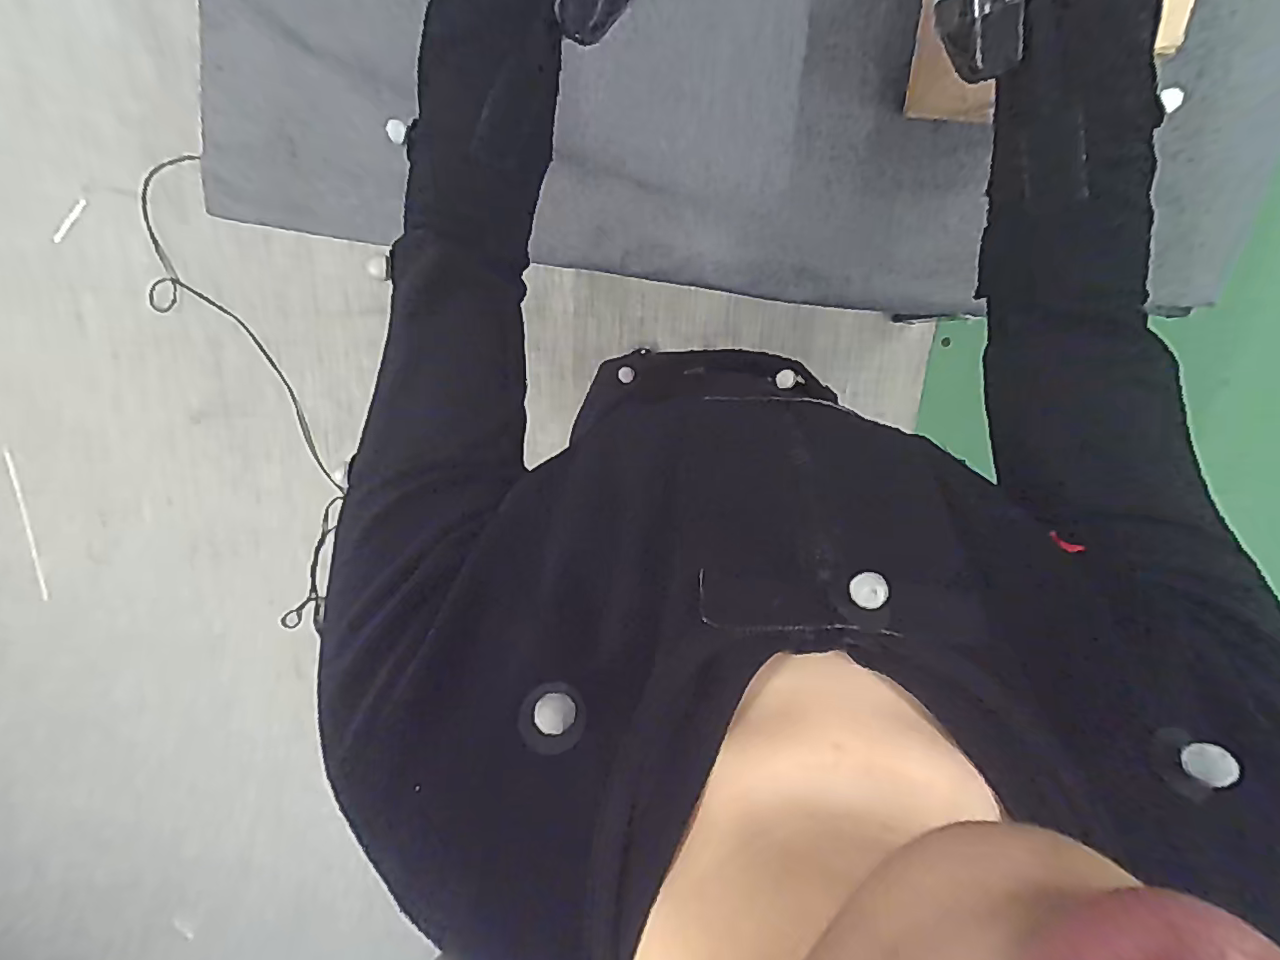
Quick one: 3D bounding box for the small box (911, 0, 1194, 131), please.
[{"bbox_3d":[0.390,-0.474,0.523,0.168,0.176,0.179,5,103,2],"label":"small box"}]
